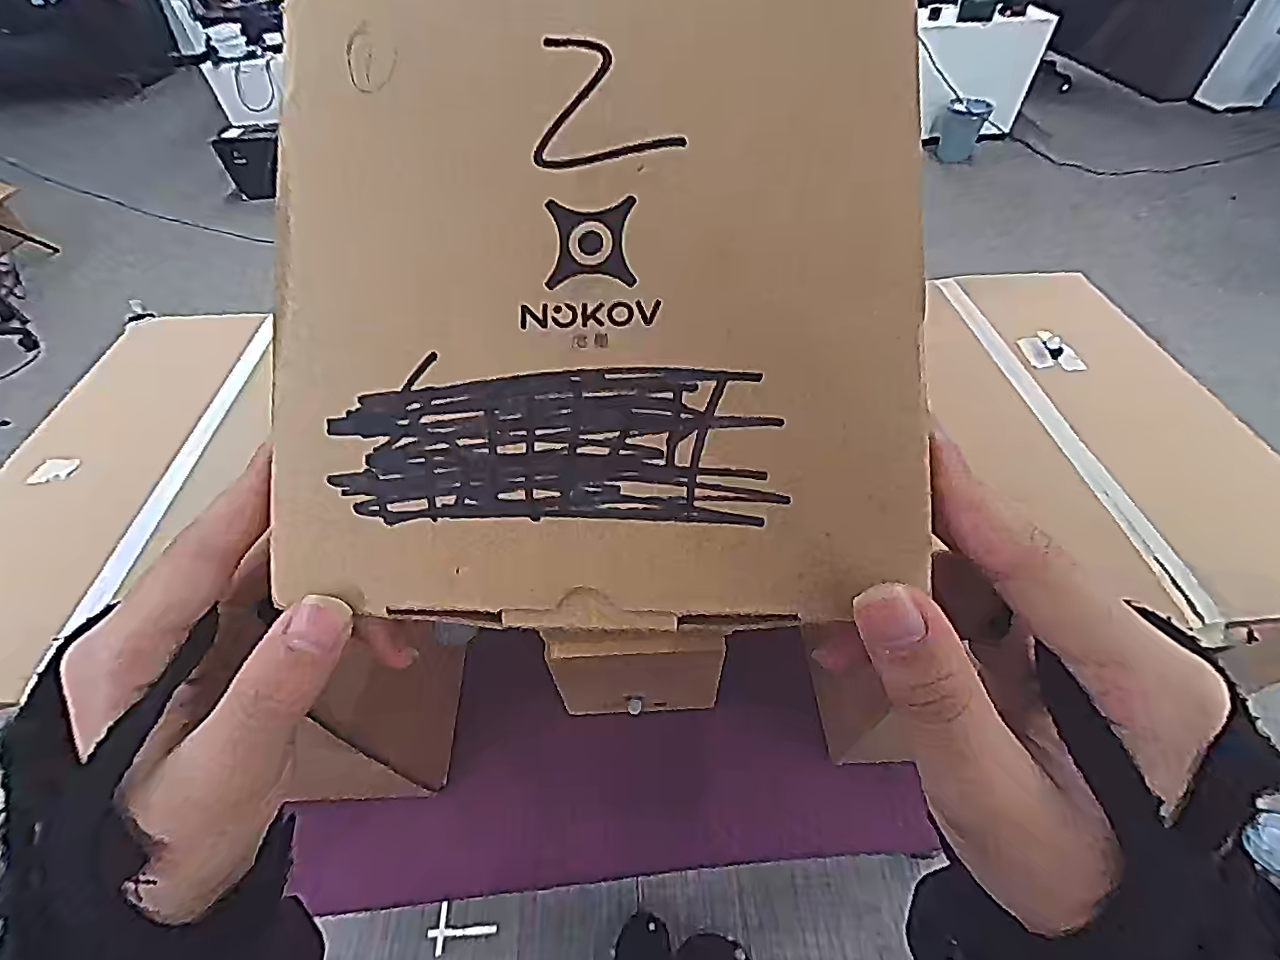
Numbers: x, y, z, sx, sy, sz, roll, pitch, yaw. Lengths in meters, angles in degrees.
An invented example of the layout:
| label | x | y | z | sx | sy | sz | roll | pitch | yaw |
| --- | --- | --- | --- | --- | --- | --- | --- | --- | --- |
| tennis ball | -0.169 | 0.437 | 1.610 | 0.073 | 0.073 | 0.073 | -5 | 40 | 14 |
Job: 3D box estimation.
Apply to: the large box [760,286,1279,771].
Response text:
| label | x | y | z | sx | sy | sz | roll | pitch | yaw |
| --- | --- | --- | --- | --- | --- | --- | --- | --- | --- |
| large box | 0.334 | 0.045 | 0.579 | 0.320 | 0.320 | 0.408 | -4 | 49 | -1 |

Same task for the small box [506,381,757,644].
| label | x | y | z | sx | sy | sz | roll | pitch | yaw |
| --- | --- | --- | --- | --- | --- | --- | --- | --- | --- |
| small box | -0.005 | 0.033 | 0.481 | 0.179 | 0.176 | 0.168 | -4 | 50 | 1 |
